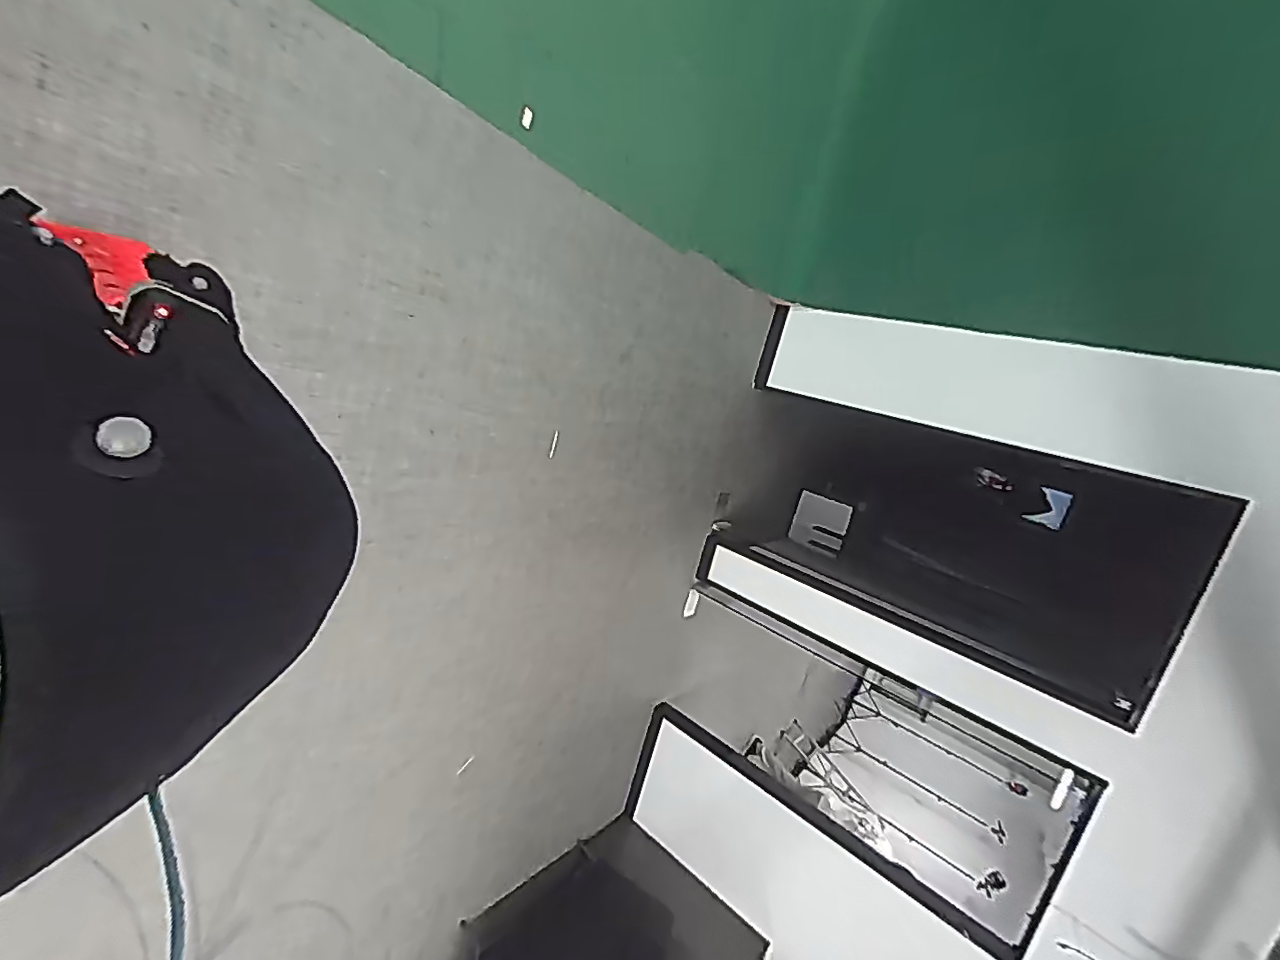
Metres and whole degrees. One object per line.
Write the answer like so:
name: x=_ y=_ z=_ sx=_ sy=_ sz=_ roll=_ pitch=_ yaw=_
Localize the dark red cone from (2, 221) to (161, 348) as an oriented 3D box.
dark red cone: x=-0.895 y=-0.302 z=0.901 sx=0.202 sy=0.394 sz=0.201 roll=-6 pitch=112 yaw=-51
